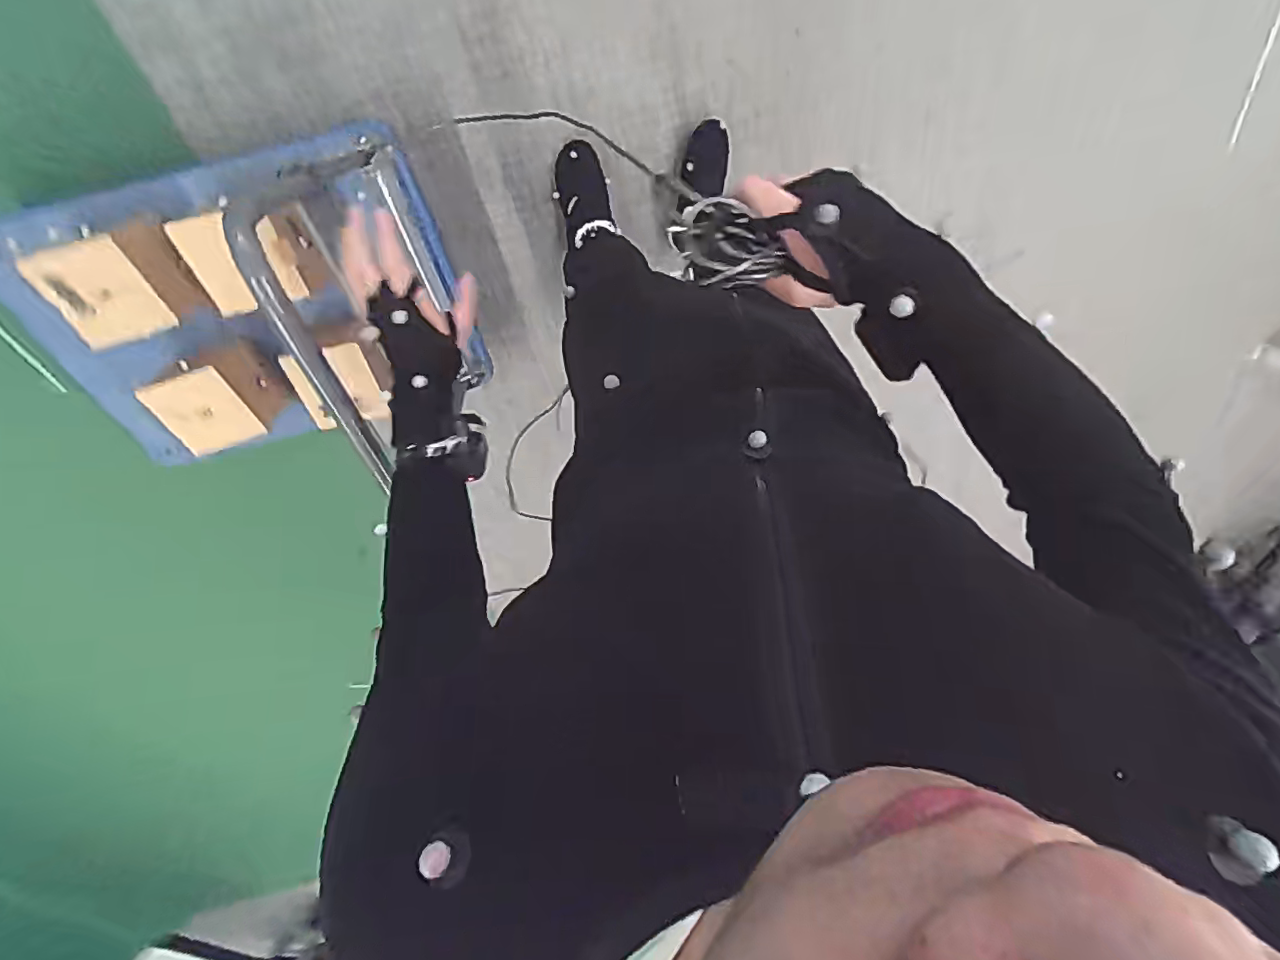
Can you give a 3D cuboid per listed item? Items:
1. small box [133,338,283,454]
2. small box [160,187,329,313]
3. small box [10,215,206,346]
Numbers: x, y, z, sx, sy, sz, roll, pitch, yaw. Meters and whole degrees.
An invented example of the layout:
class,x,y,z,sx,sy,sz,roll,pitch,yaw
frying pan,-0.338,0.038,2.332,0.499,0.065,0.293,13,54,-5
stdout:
class,x,y,z,sx,sy,sz,roll,pitch,yaw
small box,-0.926,-0.189,1.187,0.179,0.176,0.168,-18,128,2
small box,-0.736,-0.442,1.033,0.179,0.176,0.168,-15,129,-2
small box,-0.983,-0.381,1.025,0.179,0.176,0.168,-17,129,0
